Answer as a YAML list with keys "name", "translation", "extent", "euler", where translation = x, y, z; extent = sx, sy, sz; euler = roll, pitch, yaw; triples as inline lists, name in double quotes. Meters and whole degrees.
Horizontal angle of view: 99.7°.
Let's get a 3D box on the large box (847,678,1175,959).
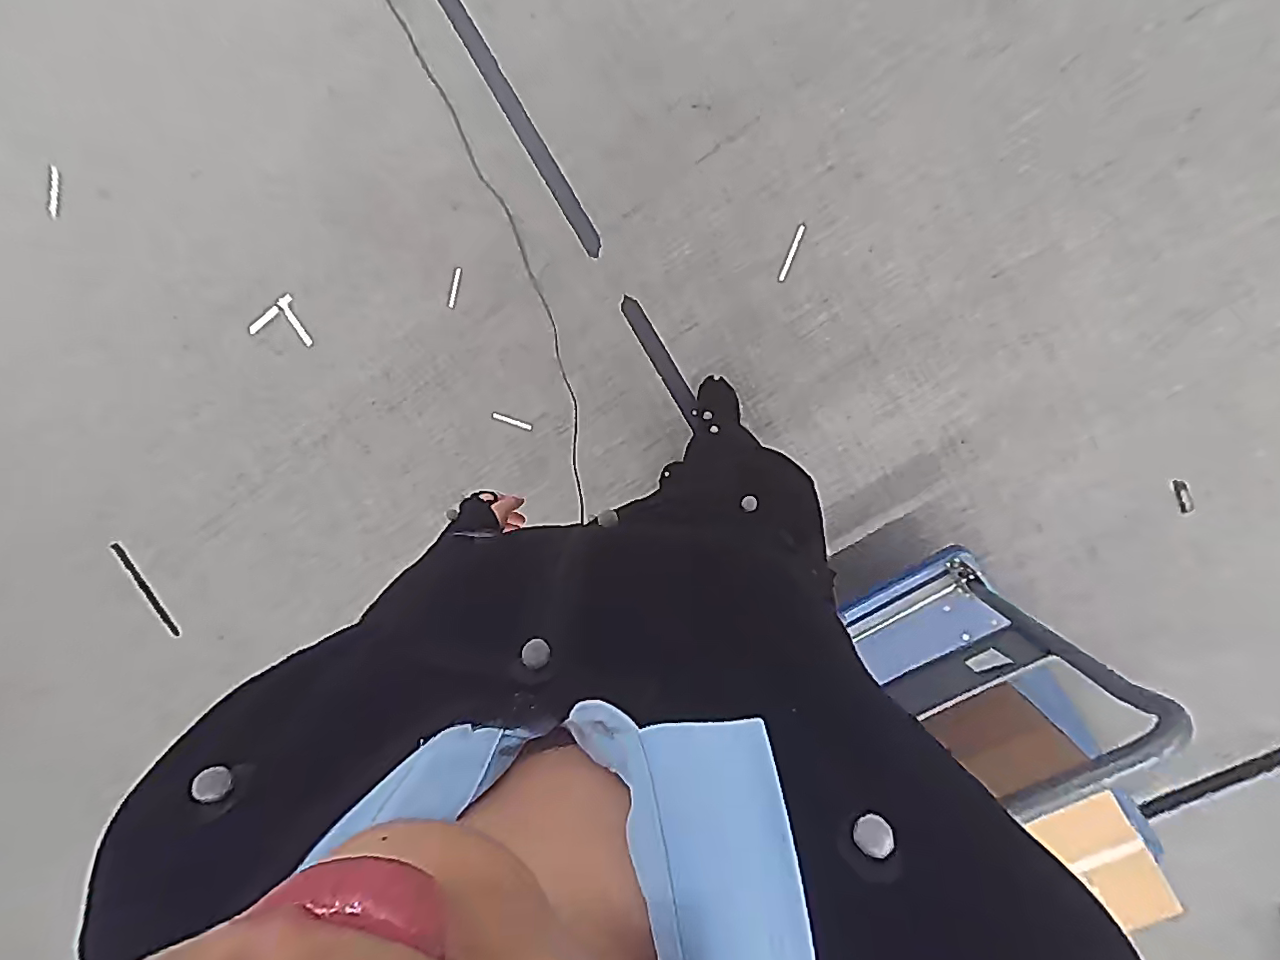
- name: "large box"
  translation: [0.718, 0.692, 1.126]
  extent: [0.408, 0.320, 0.320]
  euler: [-32, 93, 10]
